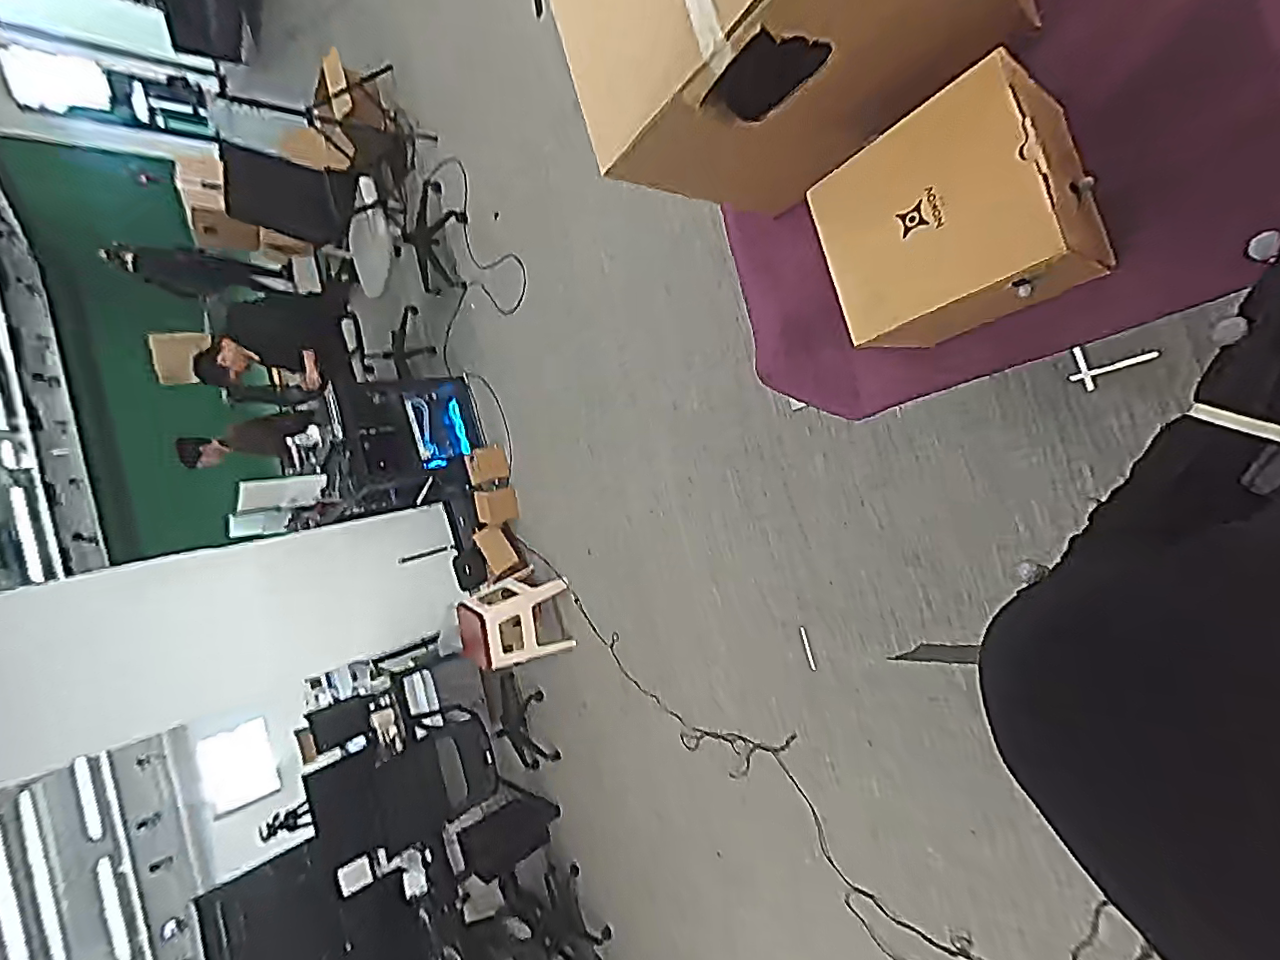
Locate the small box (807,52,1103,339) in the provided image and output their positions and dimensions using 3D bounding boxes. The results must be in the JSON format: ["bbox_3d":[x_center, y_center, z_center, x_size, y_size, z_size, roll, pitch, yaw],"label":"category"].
[{"bbox_3d":[0.301,-0.246,0.524,0.179,0.176,0.168,-22,83,50],"label":"small box"}]

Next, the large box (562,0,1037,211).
[{"bbox_3d":[0.122,-0.553,0.534,0.320,0.320,0.408,-19,88,50],"label":"large box"}]
